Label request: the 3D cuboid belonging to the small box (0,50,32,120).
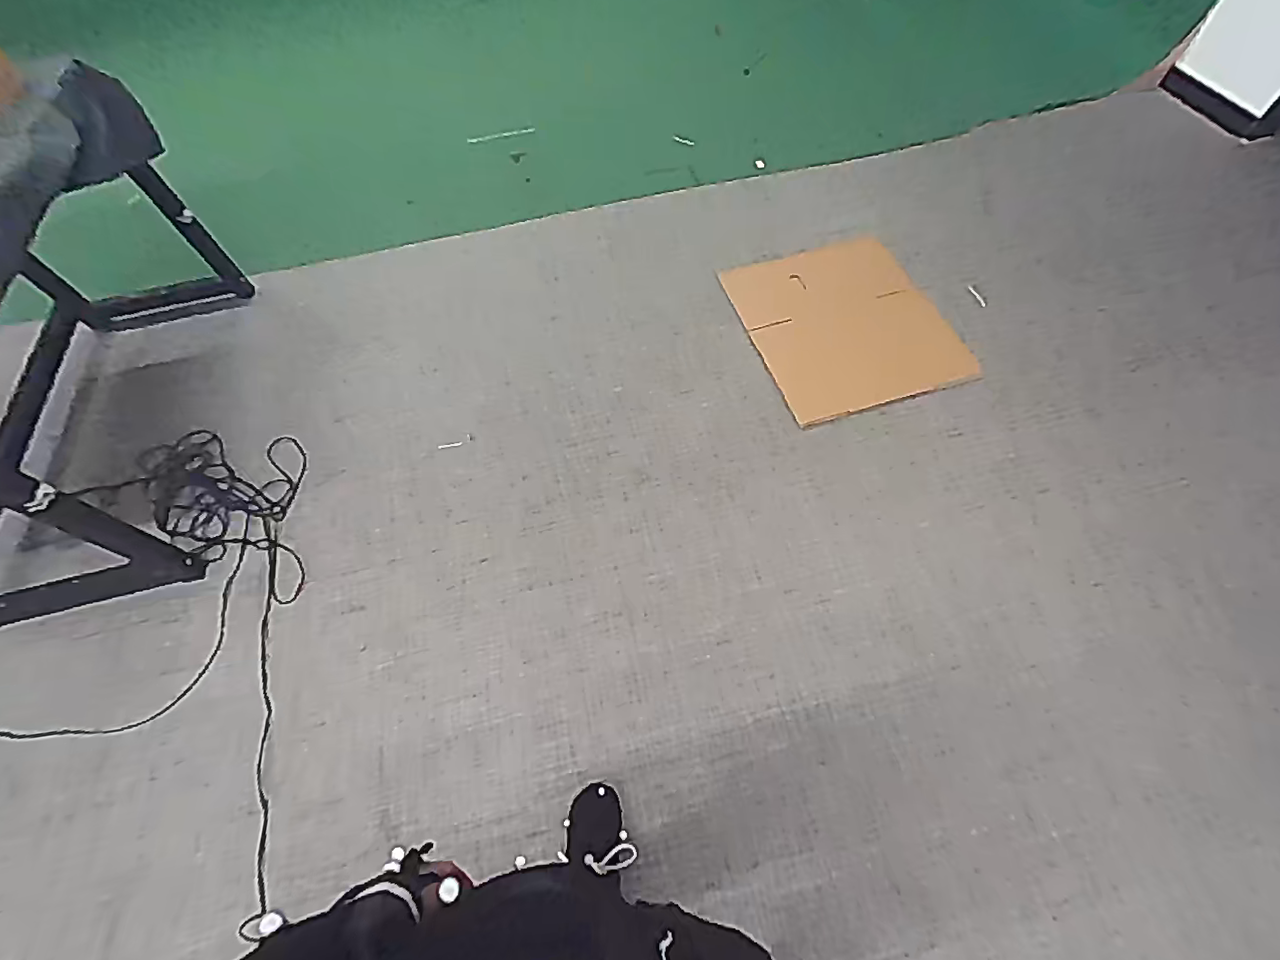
[{"bbox_3d":[-1.579,-0.941,1.236,0.168,0.176,0.179,-8,59,-2],"label":"small box"}]
